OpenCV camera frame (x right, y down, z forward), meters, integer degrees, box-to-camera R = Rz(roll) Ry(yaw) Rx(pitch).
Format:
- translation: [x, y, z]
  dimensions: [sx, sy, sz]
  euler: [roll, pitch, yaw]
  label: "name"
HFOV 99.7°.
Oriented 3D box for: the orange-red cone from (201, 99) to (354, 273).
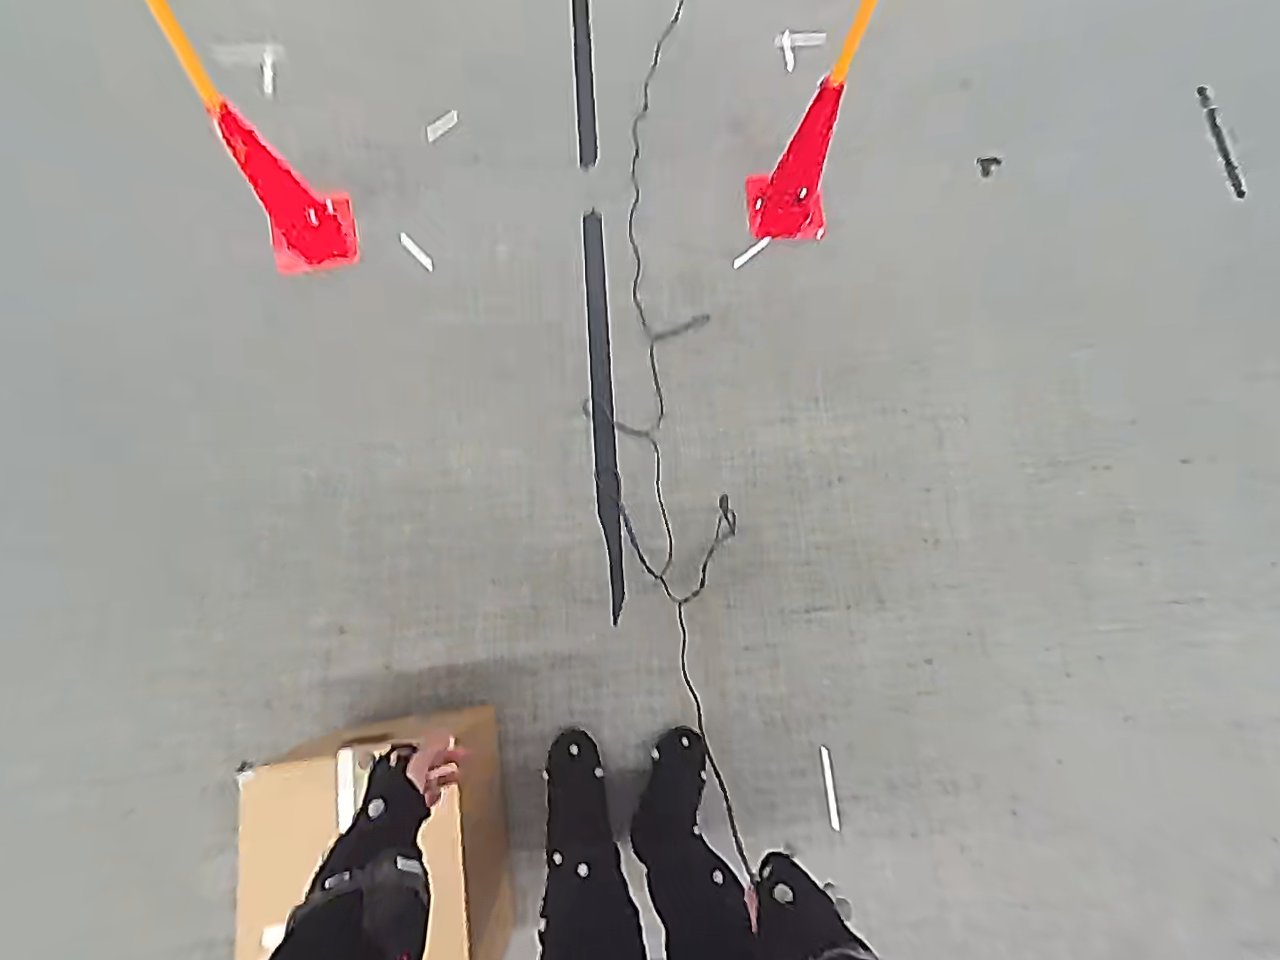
- translation: [-0.813, -0.654, 1.181]
  dimensions: [0.199, 0.360, 0.198]
  euler: [-13, 76, -5]
  label: "orange-red cone"
